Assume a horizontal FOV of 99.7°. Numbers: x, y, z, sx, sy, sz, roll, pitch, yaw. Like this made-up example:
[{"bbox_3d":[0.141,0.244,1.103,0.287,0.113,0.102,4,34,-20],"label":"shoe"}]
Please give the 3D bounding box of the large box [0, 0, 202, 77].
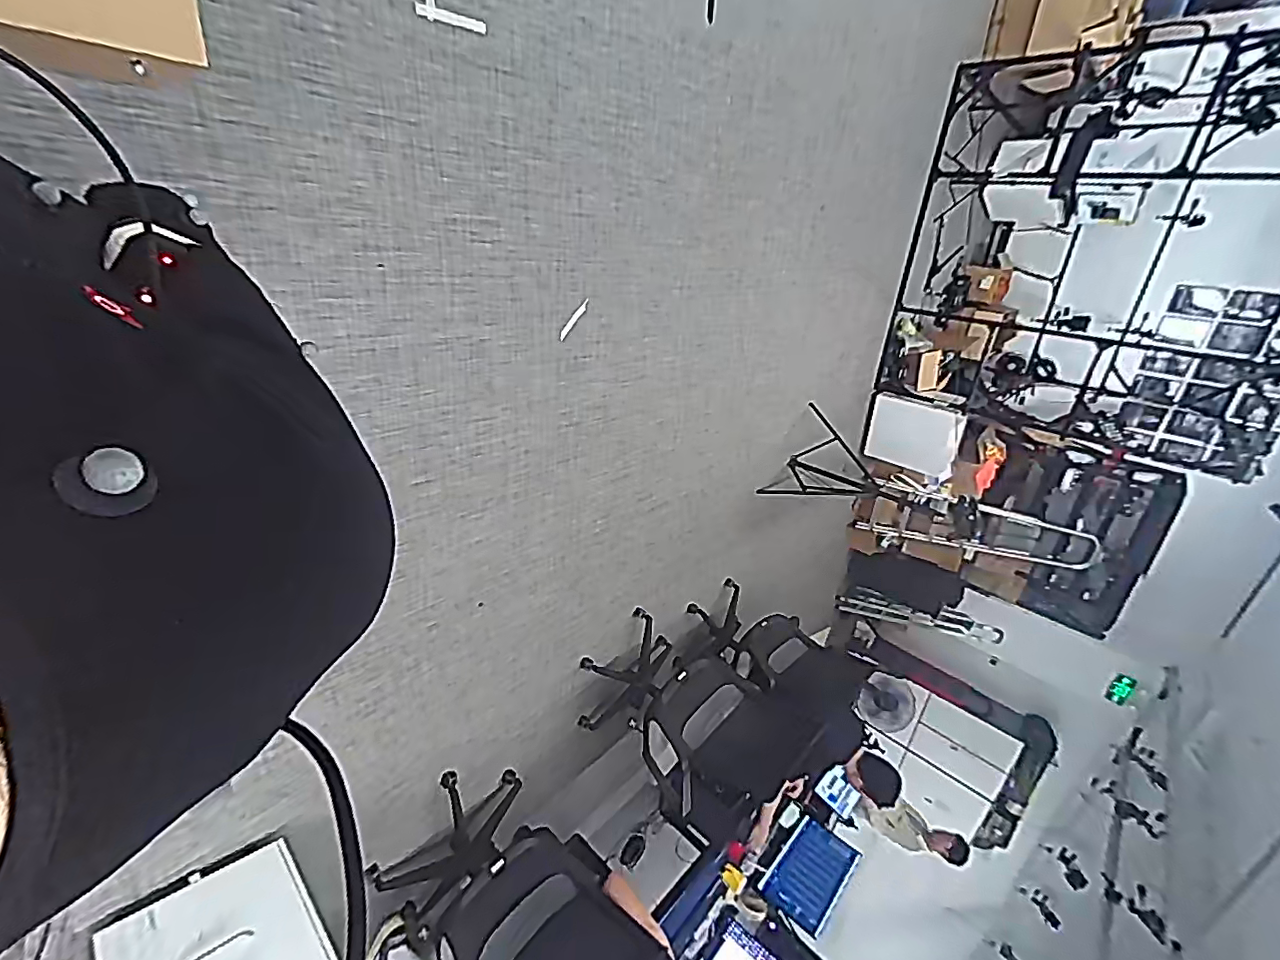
[{"bbox_3d":[-0.849,-0.722,0.651,0.408,0.320,0.320,-22,126,-44],"label":"large box"}]
